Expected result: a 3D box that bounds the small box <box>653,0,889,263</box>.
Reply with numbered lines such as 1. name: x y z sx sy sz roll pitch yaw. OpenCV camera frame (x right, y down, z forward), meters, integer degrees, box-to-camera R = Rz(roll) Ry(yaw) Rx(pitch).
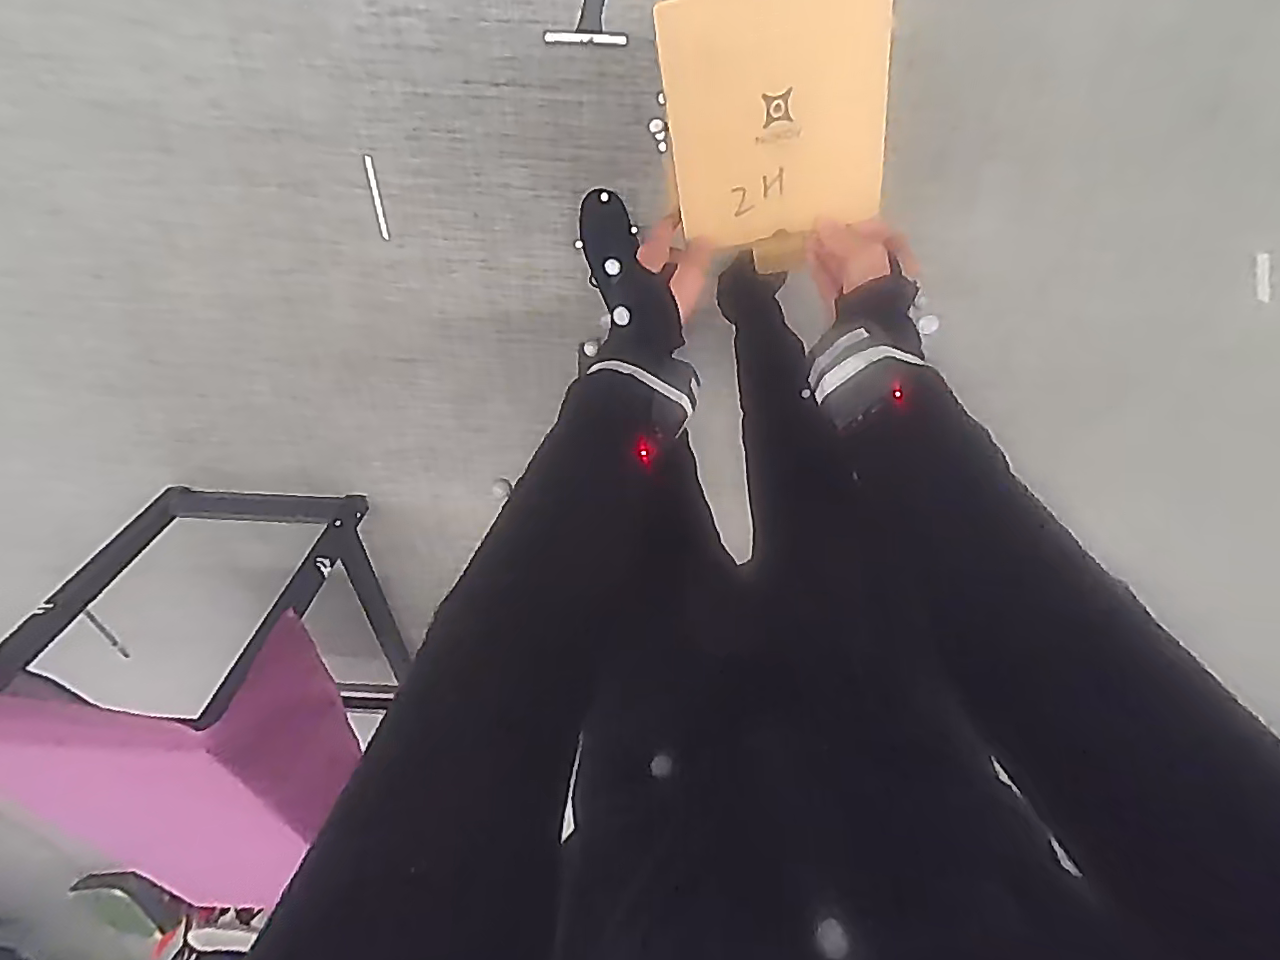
1. small box: 0.105 -0.320 0.481 0.168 0.176 0.179 -8 129 9
